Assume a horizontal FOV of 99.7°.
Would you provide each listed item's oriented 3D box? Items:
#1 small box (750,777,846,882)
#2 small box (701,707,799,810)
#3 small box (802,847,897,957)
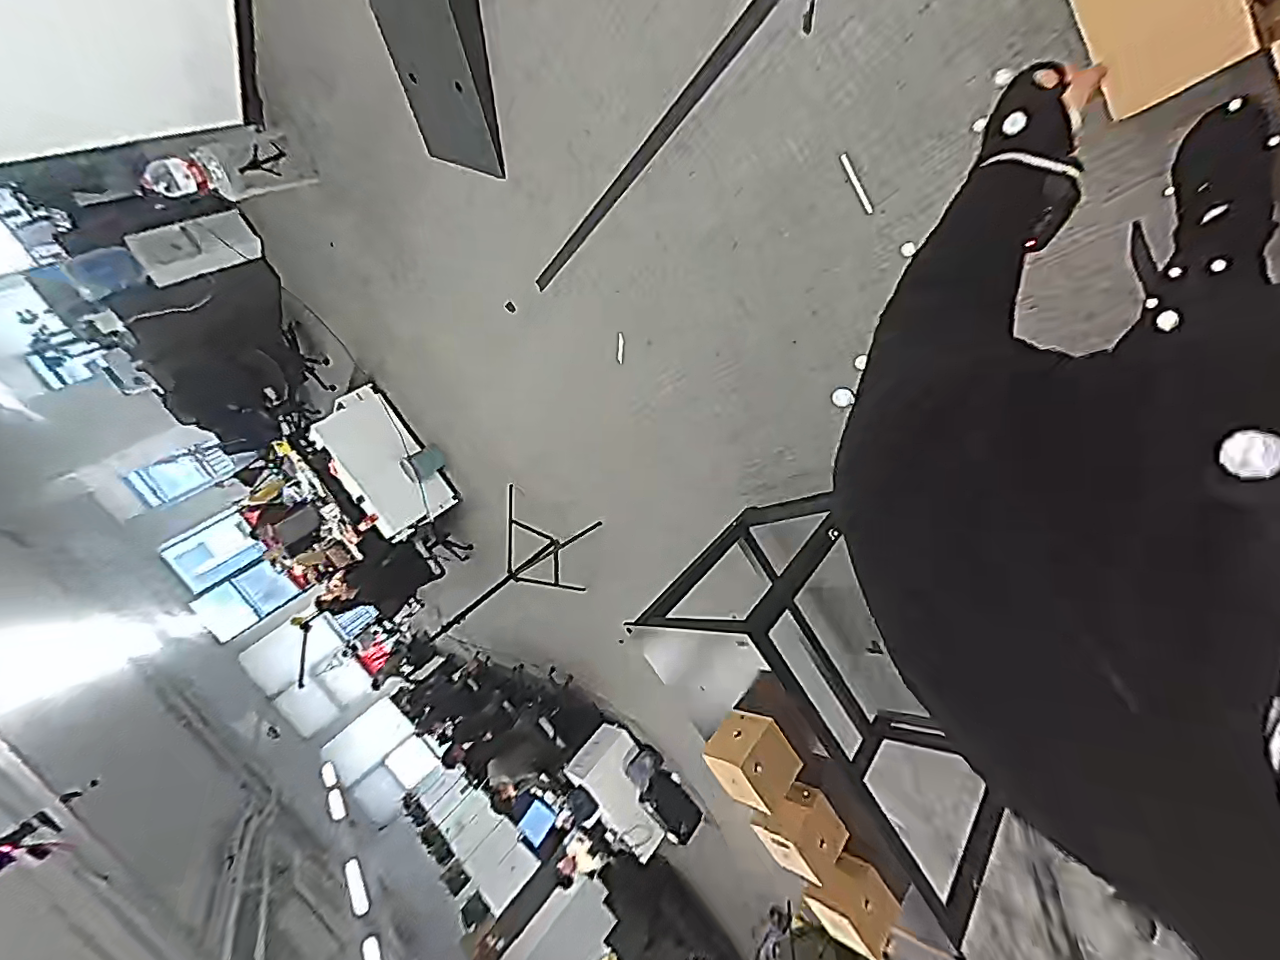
[{"bbox_3d":[0.457,0.991,1.560,0.179,0.176,0.168,56,147,-11],"label":"small box"},{"bbox_3d":[0.310,0.769,1.515,0.179,0.176,0.168,56,148,-9],"label":"small box"},{"bbox_3d":[0.622,1.232,1.601,0.179,0.176,0.168,55,148,-8],"label":"small box"}]
